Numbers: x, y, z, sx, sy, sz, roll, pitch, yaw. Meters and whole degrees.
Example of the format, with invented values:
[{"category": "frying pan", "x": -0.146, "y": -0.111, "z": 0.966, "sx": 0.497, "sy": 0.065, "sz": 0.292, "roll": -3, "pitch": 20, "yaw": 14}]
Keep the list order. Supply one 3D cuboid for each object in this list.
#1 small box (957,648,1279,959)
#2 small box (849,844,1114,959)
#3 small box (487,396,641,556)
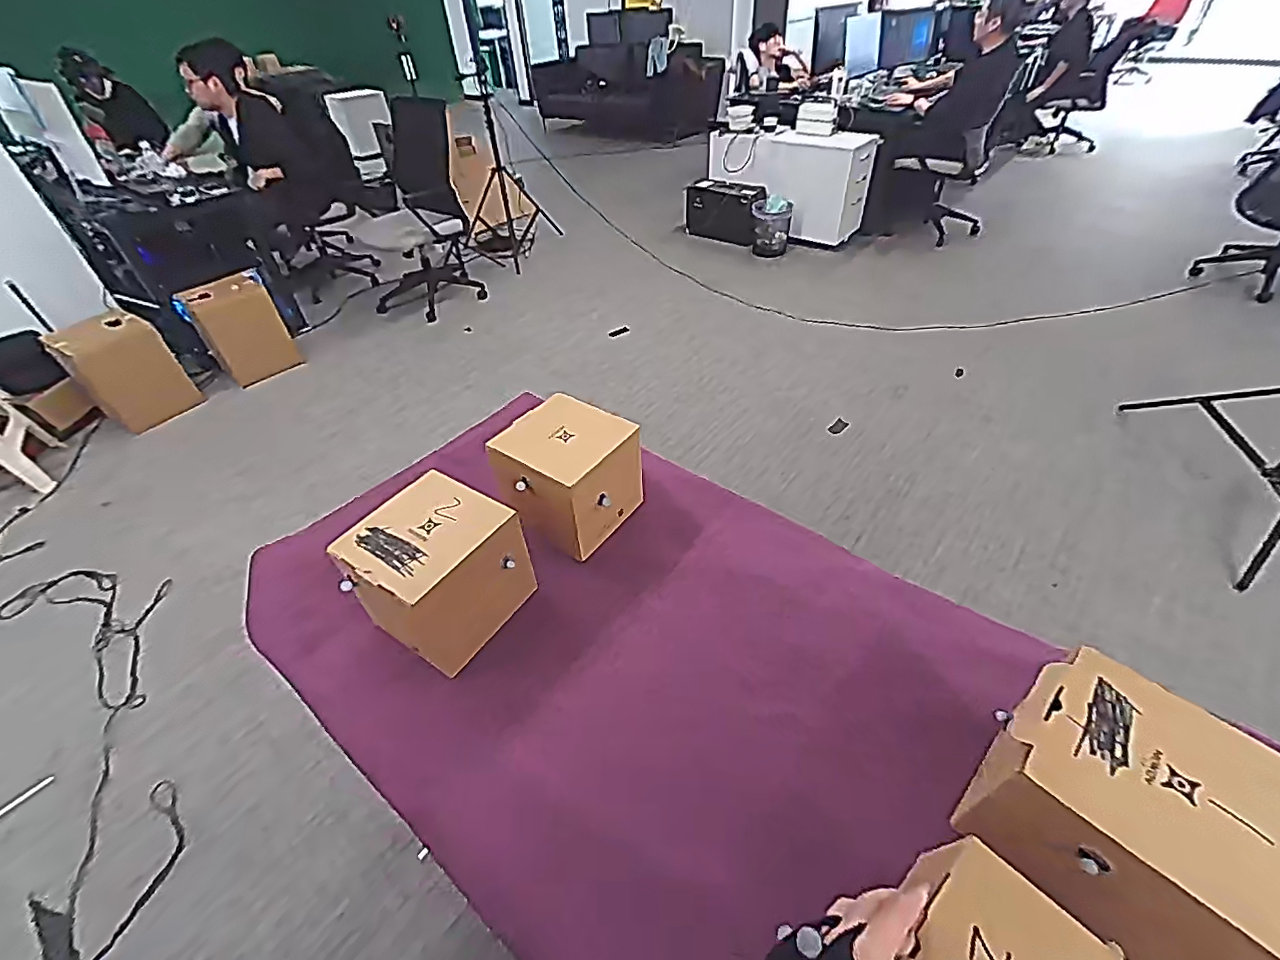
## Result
[{"category": "small box", "x": 0.437, "y": 0.303, "z": 0.505, "sx": 0.168, "sy": 0.176, "sz": 0.179, "roll": -36, "pitch": 53, "yaw": -28}, {"category": "small box", "x": 0.243, "y": 0.388, "z": 0.362, "sx": 0.168, "sy": 0.176, "sz": 0.179, "roll": -41, "pitch": 54, "yaw": -19}, {"category": "small box", "x": -0.111, "y": -0.003, "z": 0.875, "sx": 0.179, "sy": 0.176, "sz": 0.168, "roll": 25, "pitch": 50, "yaw": 27}]
